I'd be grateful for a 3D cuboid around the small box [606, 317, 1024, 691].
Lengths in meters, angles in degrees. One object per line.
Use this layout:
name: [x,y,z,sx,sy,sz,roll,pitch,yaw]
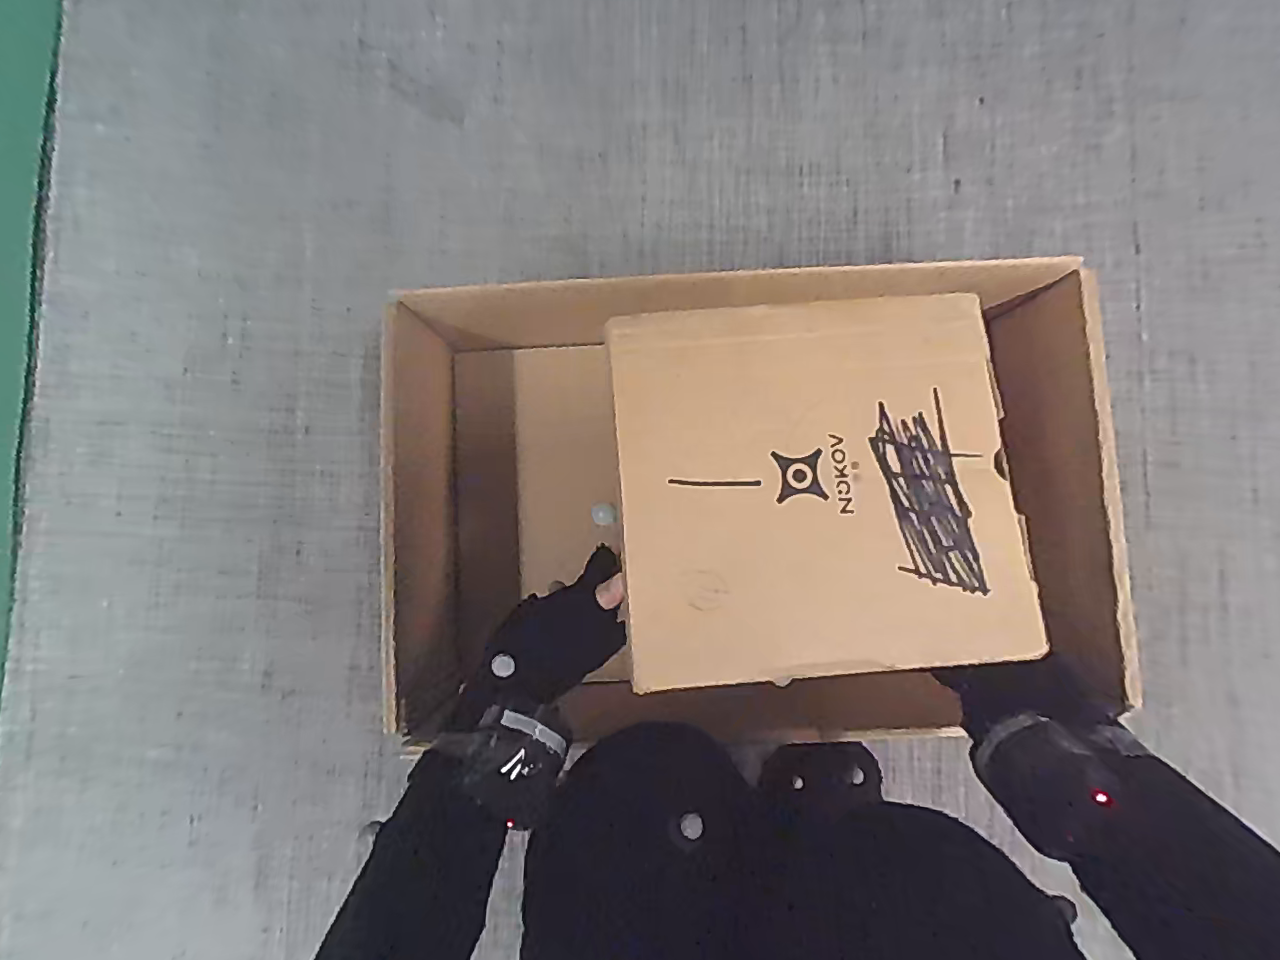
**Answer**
small box: [0.071,0.020,0.317,0.179,0.176,0.168,-2,79,-1]
